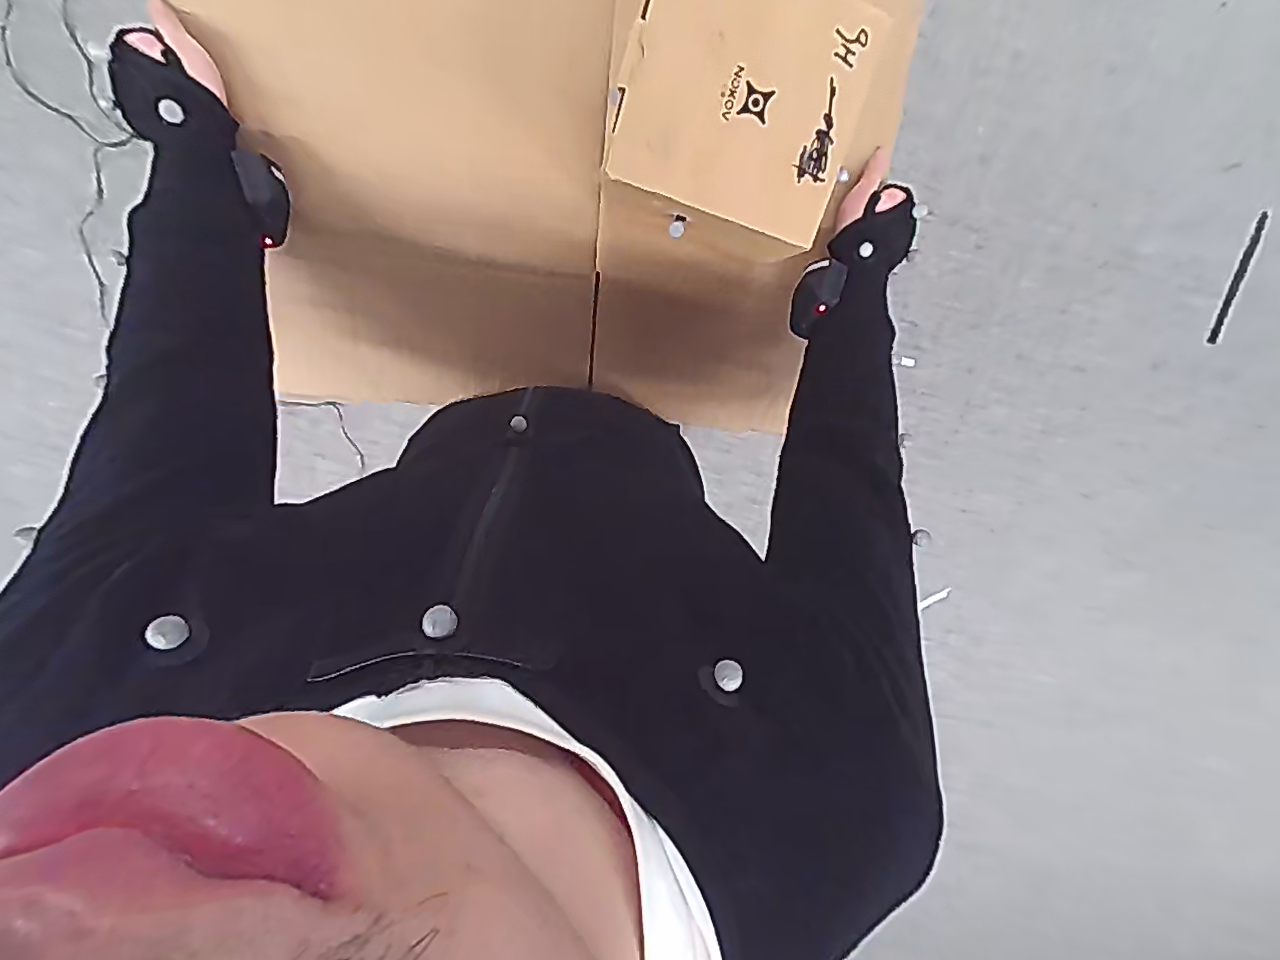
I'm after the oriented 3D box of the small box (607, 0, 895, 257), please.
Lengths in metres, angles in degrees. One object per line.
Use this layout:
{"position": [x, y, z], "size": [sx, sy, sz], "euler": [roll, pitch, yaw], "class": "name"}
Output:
{"position": [0.078, -0.312, 0.482], "size": [0.179, 0.176, 0.168], "euler": [17, 105, -7], "class": "small box"}
